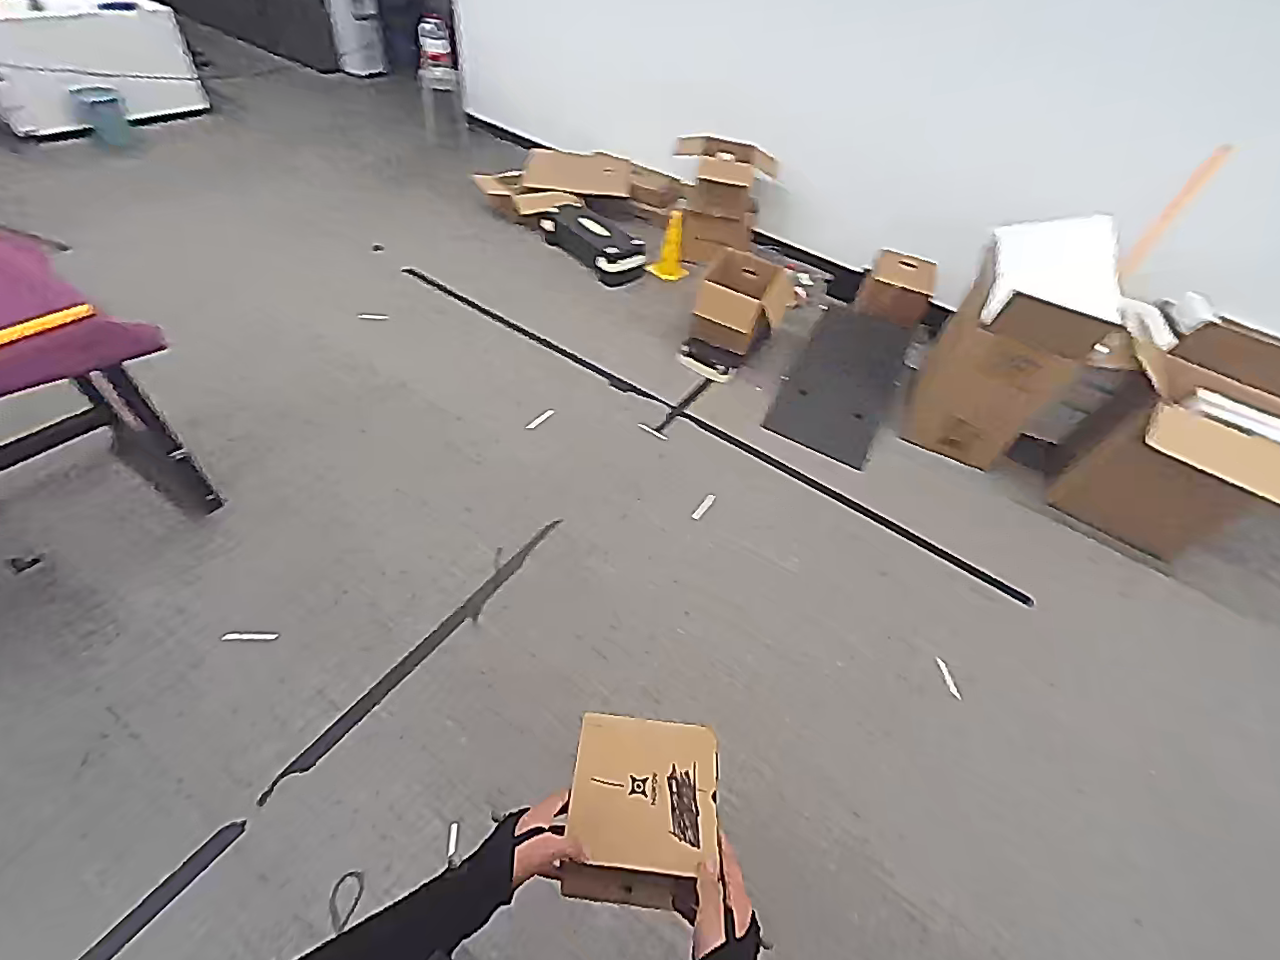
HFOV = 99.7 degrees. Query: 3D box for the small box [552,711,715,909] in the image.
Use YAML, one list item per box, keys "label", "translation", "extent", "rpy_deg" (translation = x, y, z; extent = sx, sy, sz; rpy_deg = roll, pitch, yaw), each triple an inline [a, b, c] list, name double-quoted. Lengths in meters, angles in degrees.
- label: "small box"
  translation: [-0.006, 0.416, 0.681]
  extent: [0.179, 0.176, 0.168]
  rpy_deg: [5, 41, 1]
